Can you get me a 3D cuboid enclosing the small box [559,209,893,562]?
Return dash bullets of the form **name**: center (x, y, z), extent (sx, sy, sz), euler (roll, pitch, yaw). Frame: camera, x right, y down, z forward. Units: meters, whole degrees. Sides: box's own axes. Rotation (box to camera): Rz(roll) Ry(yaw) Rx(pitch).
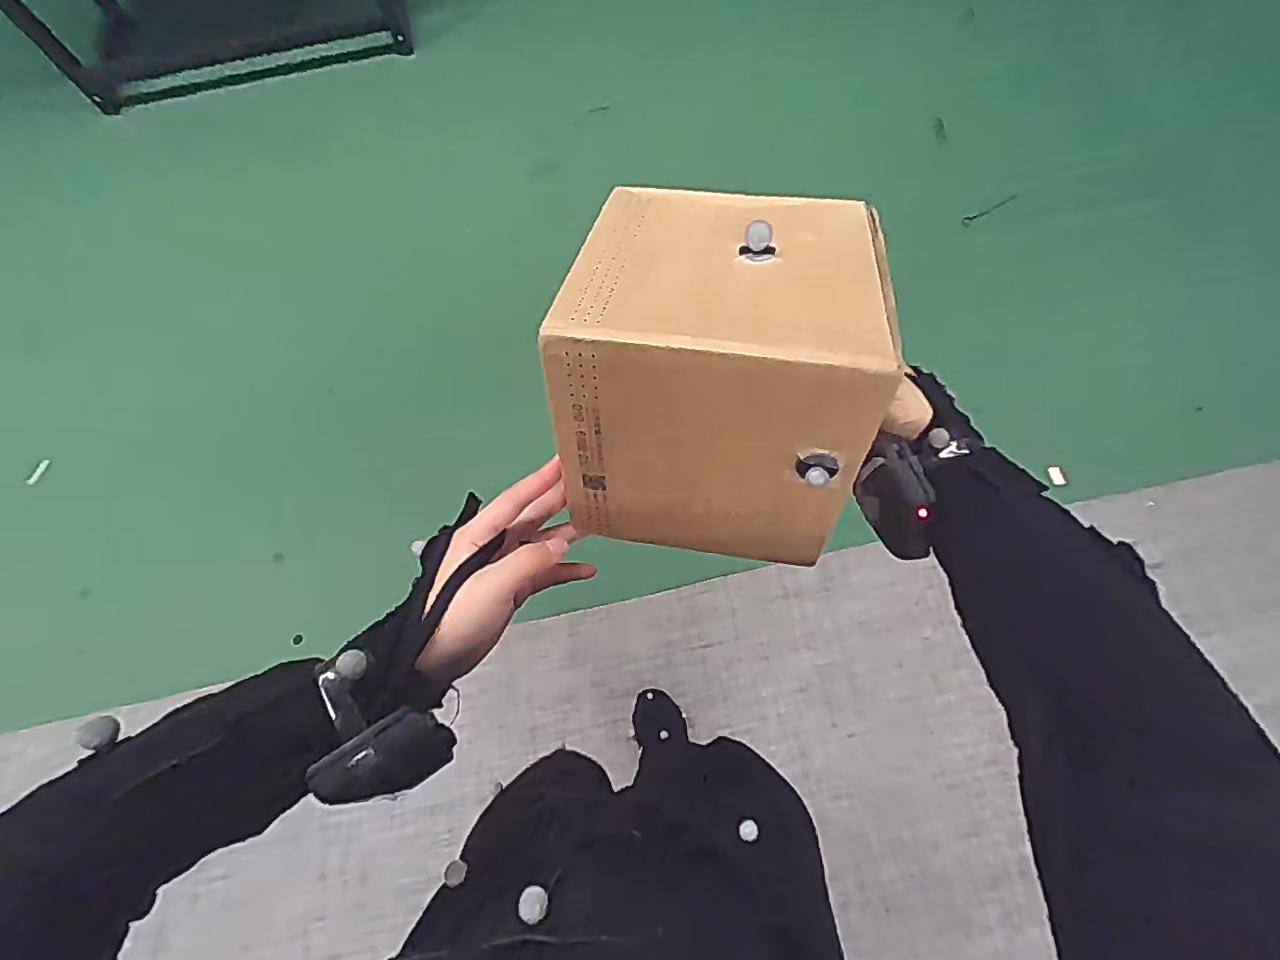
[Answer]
- **small box**: center (0.050, -0.069, 0.375), extent (0.176, 0.168, 0.179), euler (7, 50, 7)
